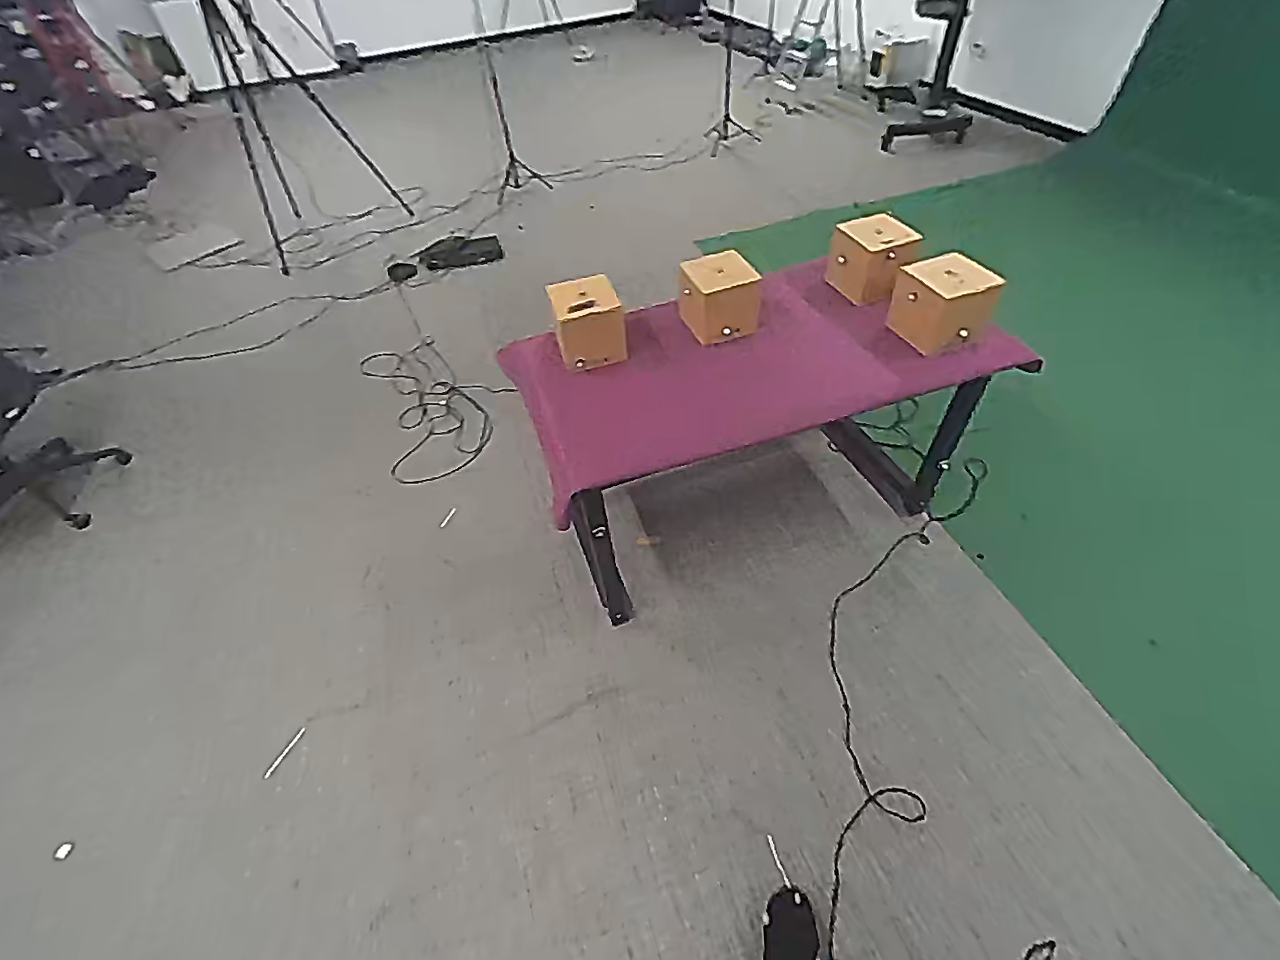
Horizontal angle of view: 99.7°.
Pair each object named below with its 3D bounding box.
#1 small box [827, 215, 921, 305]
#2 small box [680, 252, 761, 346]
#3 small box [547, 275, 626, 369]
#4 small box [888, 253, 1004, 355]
[{"bbox_3d":[0.664,-0.634,1.561,0.168,0.176,0.179,-19,49,-9],"label":"small box"},{"bbox_3d":[0.216,-0.500,1.495,0.168,0.176,0.179,-18,50,-8],"label":"small box"},{"bbox_3d":[-0.141,-0.418,1.455,0.168,0.176,0.179,-15,50,-8],"label":"small box"},{"bbox_3d":[0.768,-0.448,1.382,0.168,0.176,0.179,-18,49,-7],"label":"small box"}]
